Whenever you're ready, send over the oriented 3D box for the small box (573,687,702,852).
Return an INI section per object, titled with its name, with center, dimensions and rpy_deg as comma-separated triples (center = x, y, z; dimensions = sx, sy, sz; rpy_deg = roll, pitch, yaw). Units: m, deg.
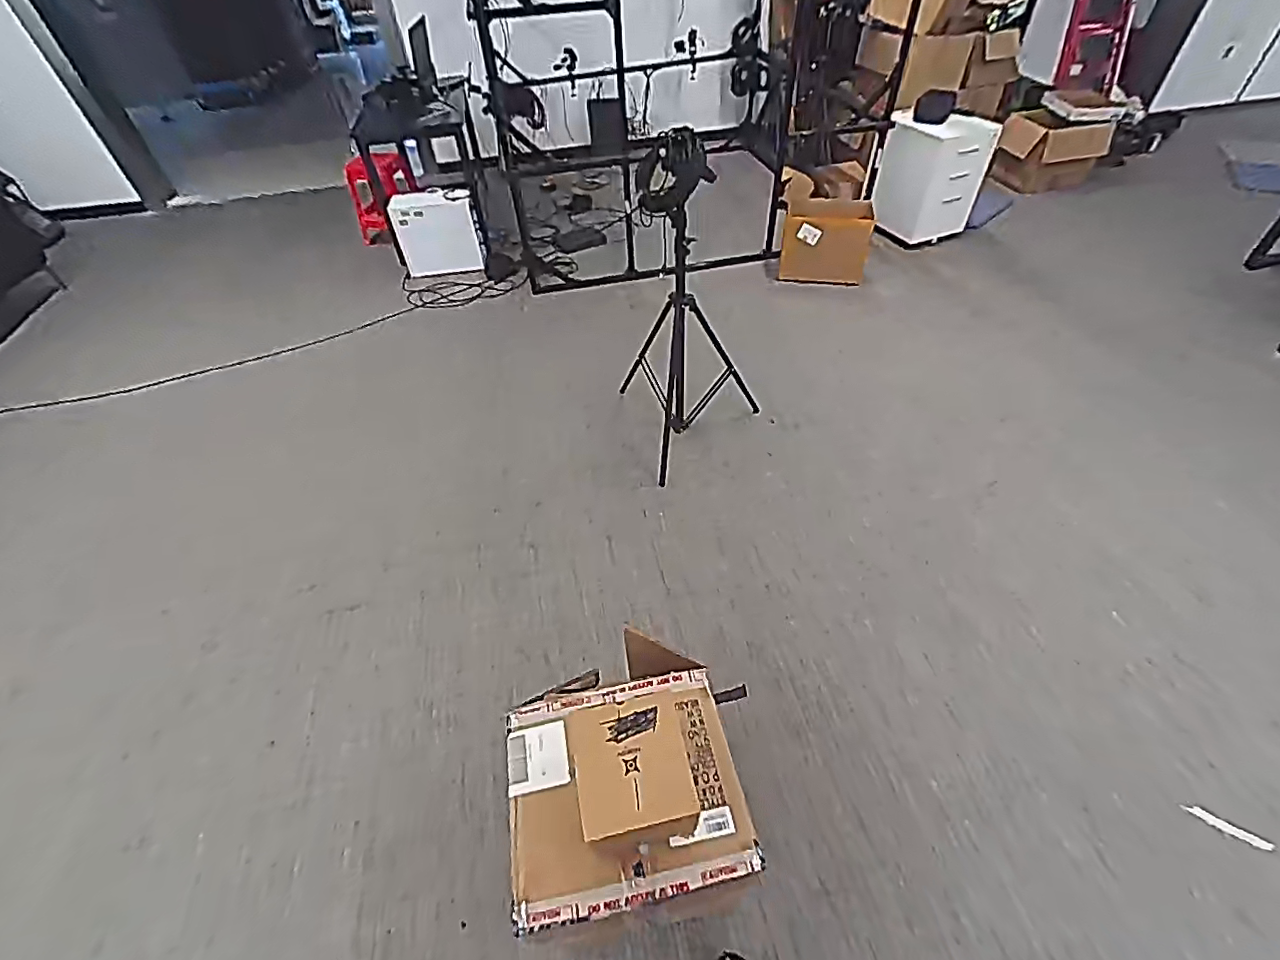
[small box]
center = -0.008, 0.458, 0.854
dimensions = 0.168, 0.176, 0.179
rpy_deg = -11, 50, -6
